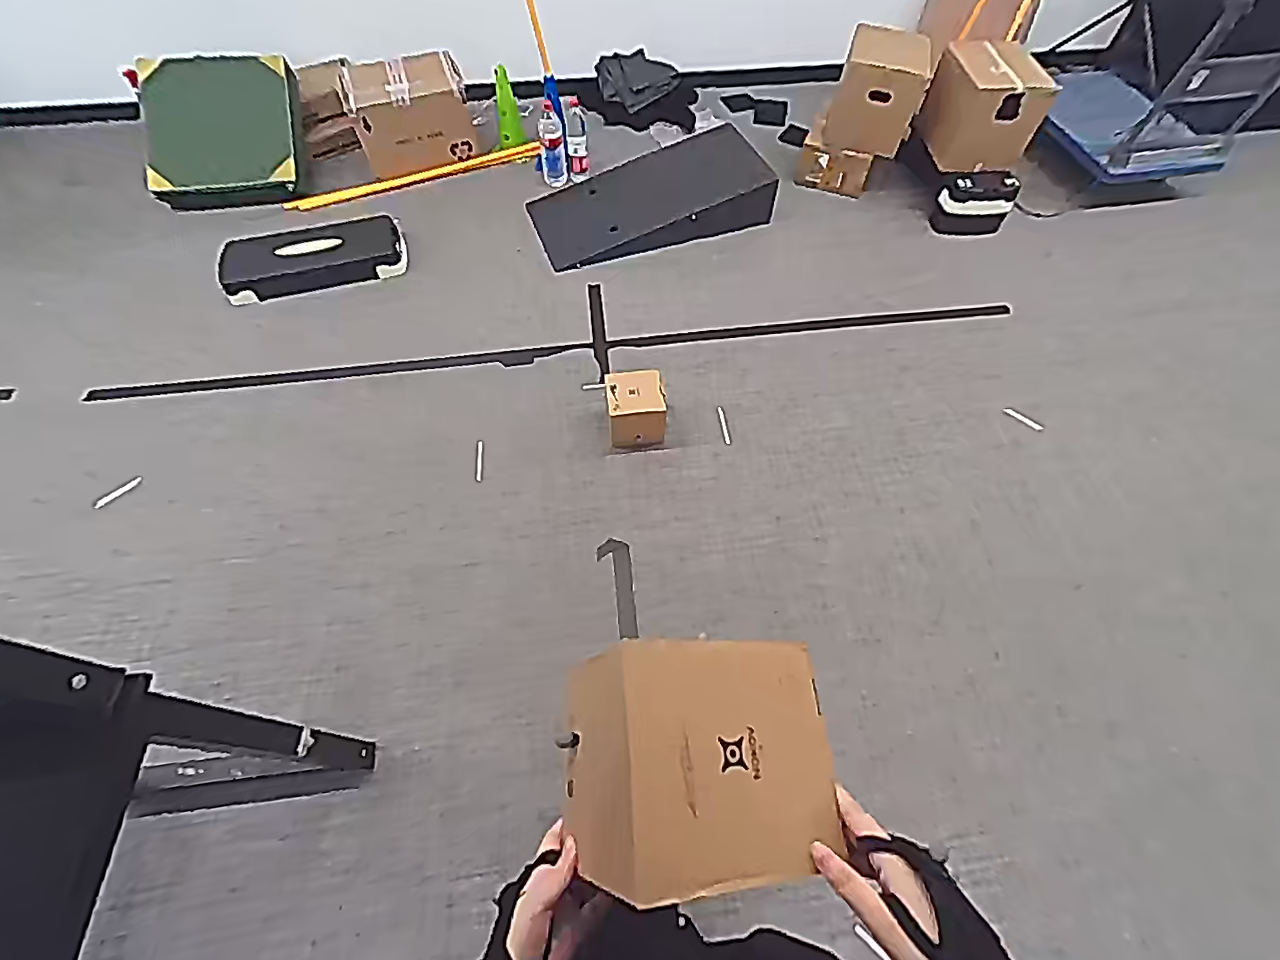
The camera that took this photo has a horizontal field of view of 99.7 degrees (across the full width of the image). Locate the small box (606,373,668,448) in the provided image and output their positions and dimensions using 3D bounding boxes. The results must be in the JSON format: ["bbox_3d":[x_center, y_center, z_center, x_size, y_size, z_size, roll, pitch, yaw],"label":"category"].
[{"bbox_3d":[-0.016,-0.218,1.709,0.179,0.176,0.168,-6,59,-5],"label":"small box"}]
